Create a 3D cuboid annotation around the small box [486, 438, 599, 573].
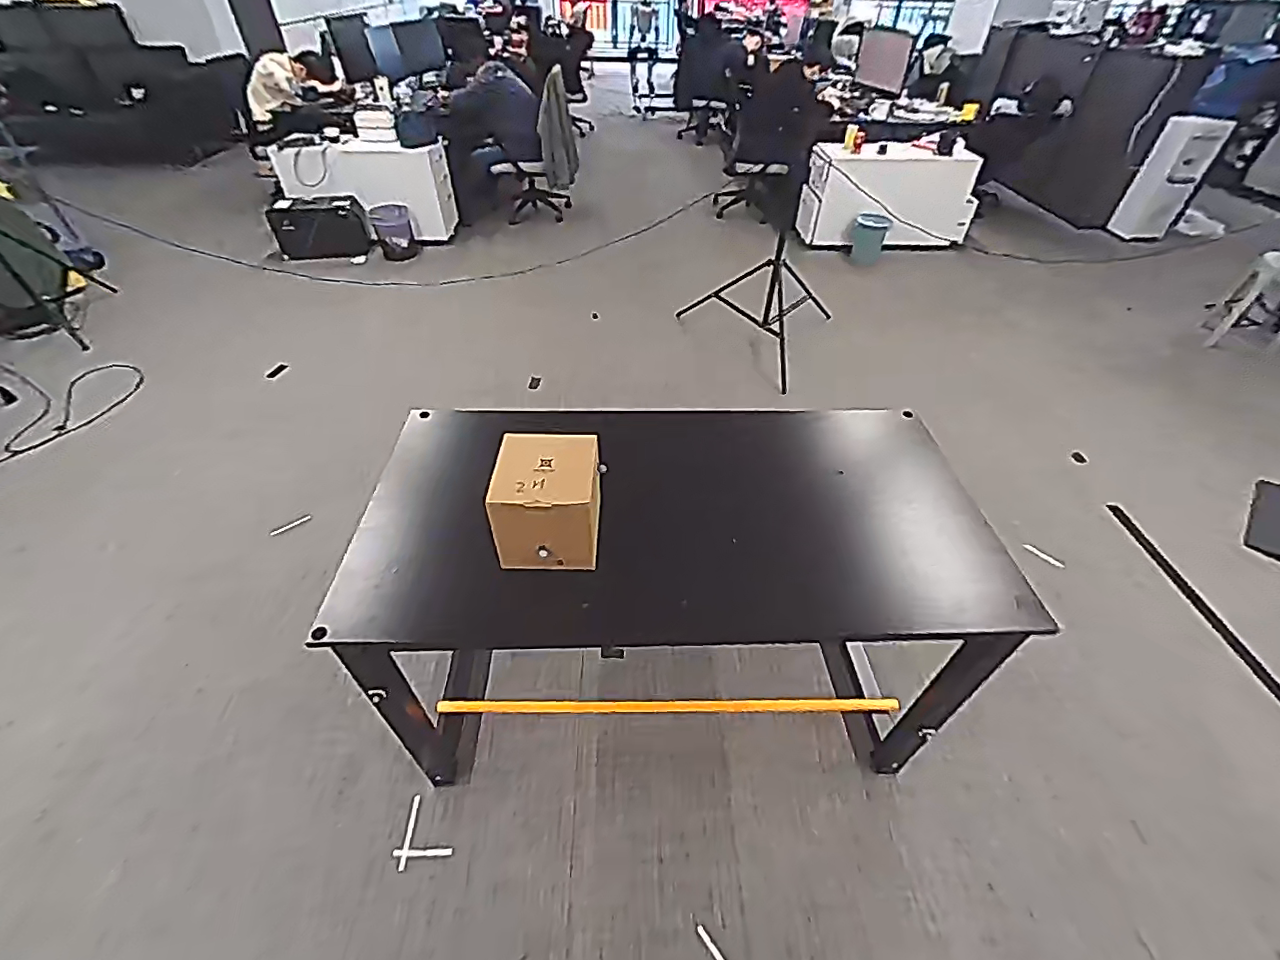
[{"bbox_3d":[-0.162,0.044,0.962,0.168,0.176,0.179,0,43,0],"label":"small box"}]
